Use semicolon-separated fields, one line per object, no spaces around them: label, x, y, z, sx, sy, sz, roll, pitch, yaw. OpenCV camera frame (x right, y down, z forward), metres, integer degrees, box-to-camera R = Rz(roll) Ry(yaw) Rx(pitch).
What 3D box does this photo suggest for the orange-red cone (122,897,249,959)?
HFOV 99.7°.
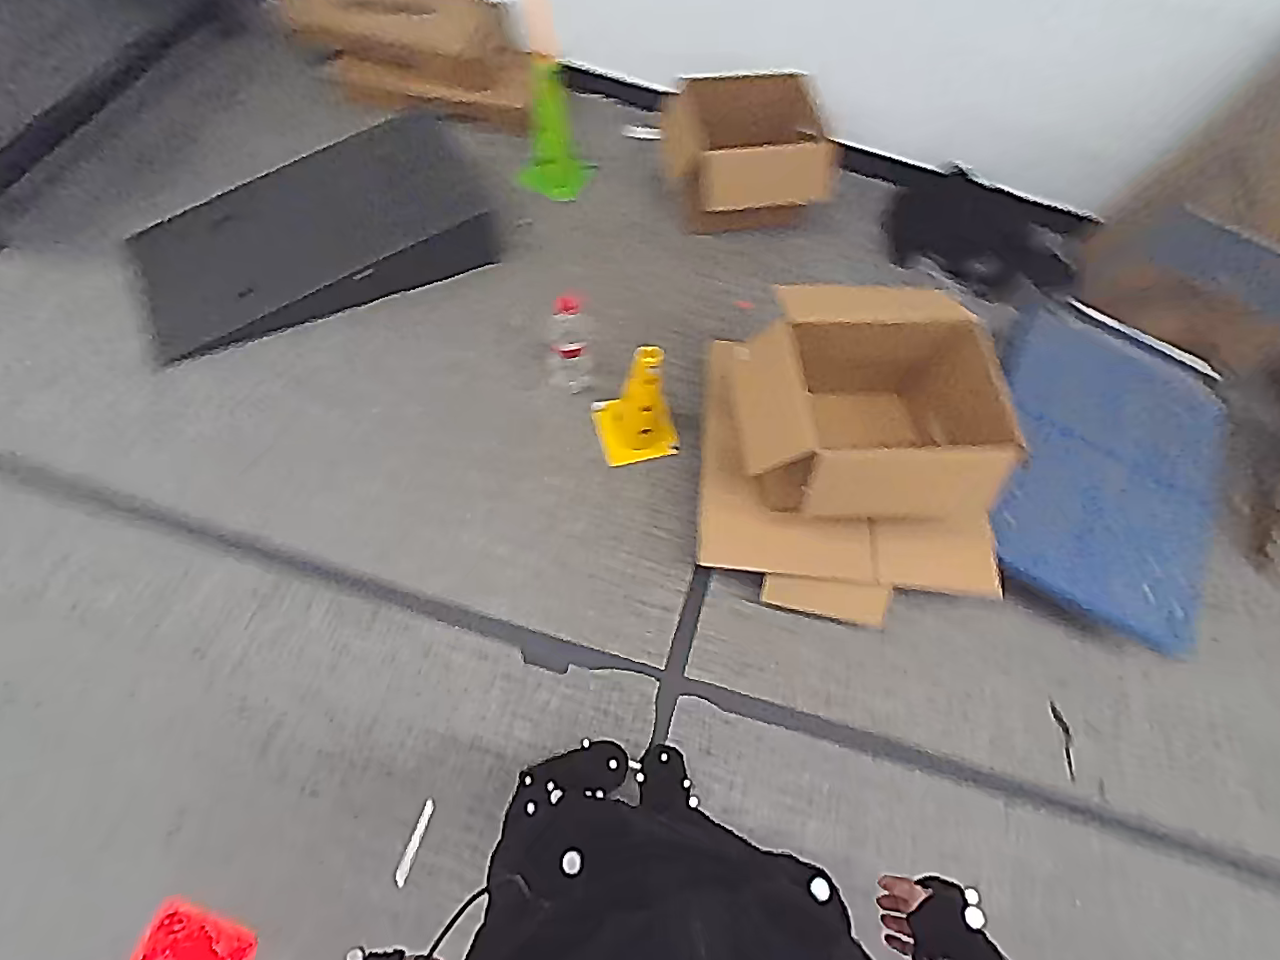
orange-red cone;-0.839;0.844;0.836;0.198;0.360;0.199;22;67;3
